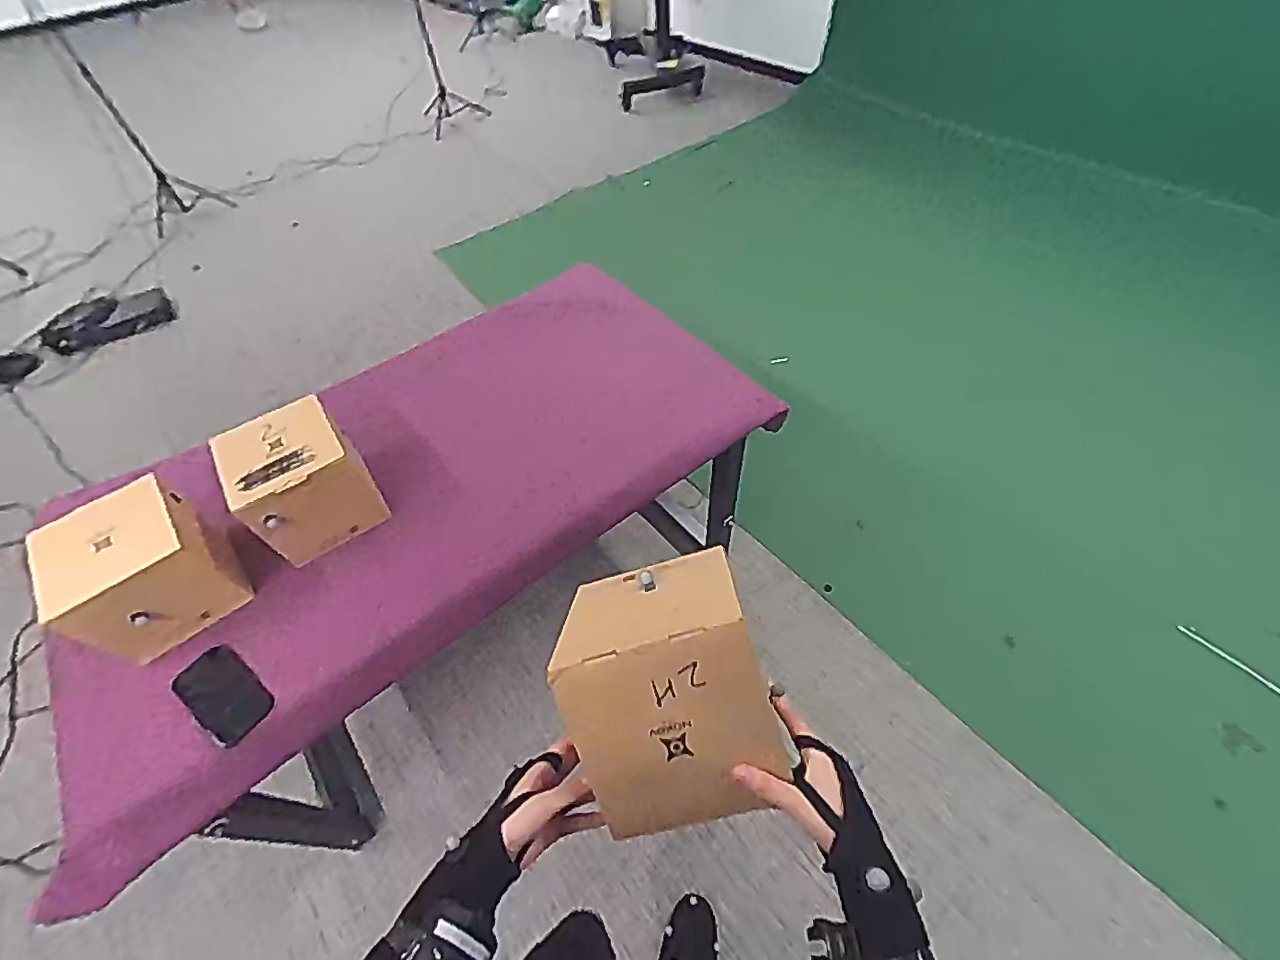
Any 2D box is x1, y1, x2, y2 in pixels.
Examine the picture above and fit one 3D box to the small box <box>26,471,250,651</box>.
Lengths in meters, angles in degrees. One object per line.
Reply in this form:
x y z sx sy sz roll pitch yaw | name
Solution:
-0.723 0.127 0.795 0.168 0.176 0.179 -36 59 -21 | small box
